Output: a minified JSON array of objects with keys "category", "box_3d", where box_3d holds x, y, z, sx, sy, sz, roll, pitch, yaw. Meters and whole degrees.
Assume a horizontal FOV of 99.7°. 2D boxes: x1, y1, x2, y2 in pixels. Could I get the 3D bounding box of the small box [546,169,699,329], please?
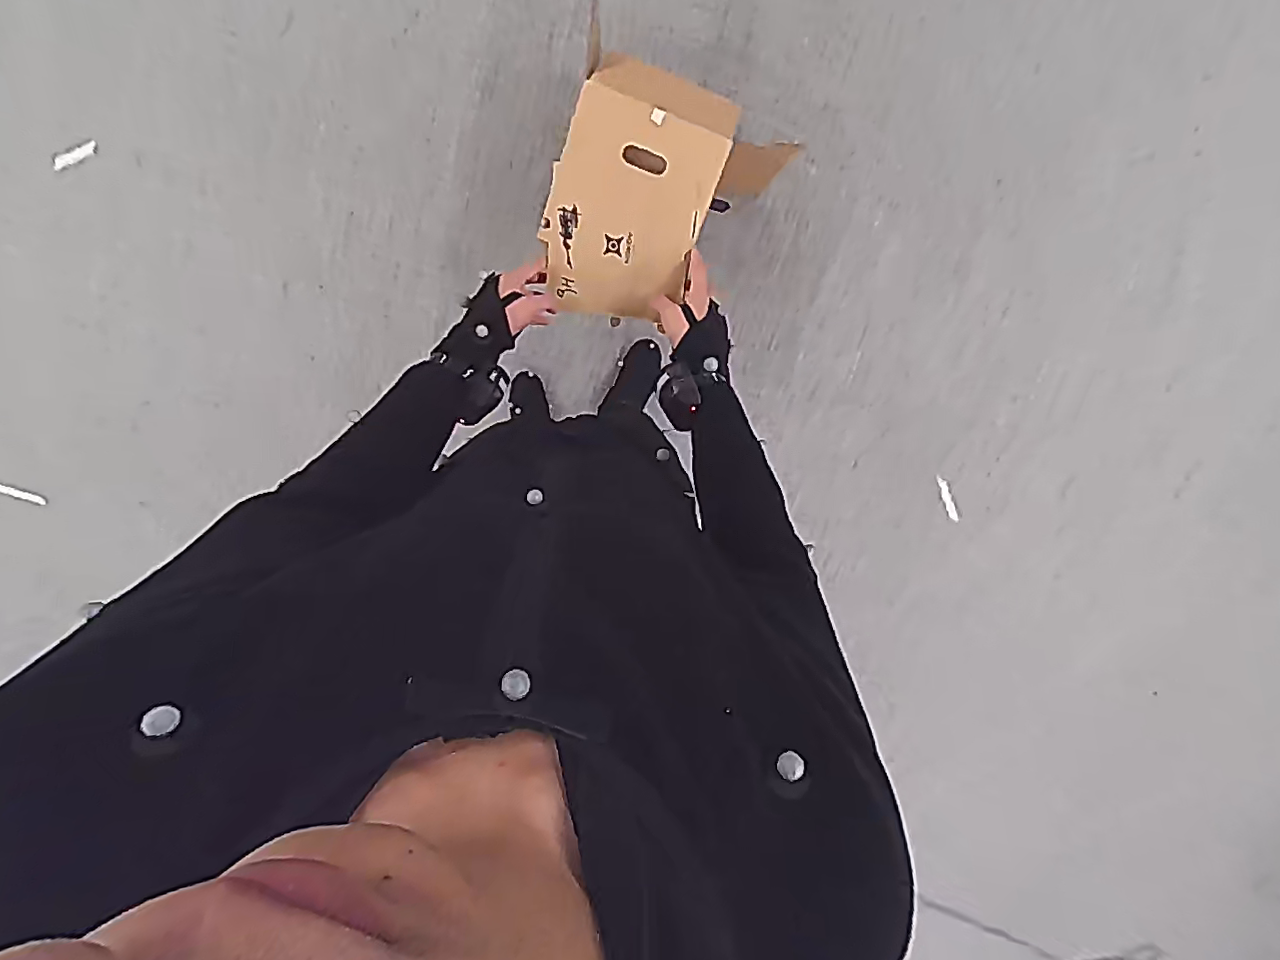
[{"category":"small box","box_3d":[-0.027,-0.310,0.745,0.179,0.176,0.168,6,109,-3]}]
